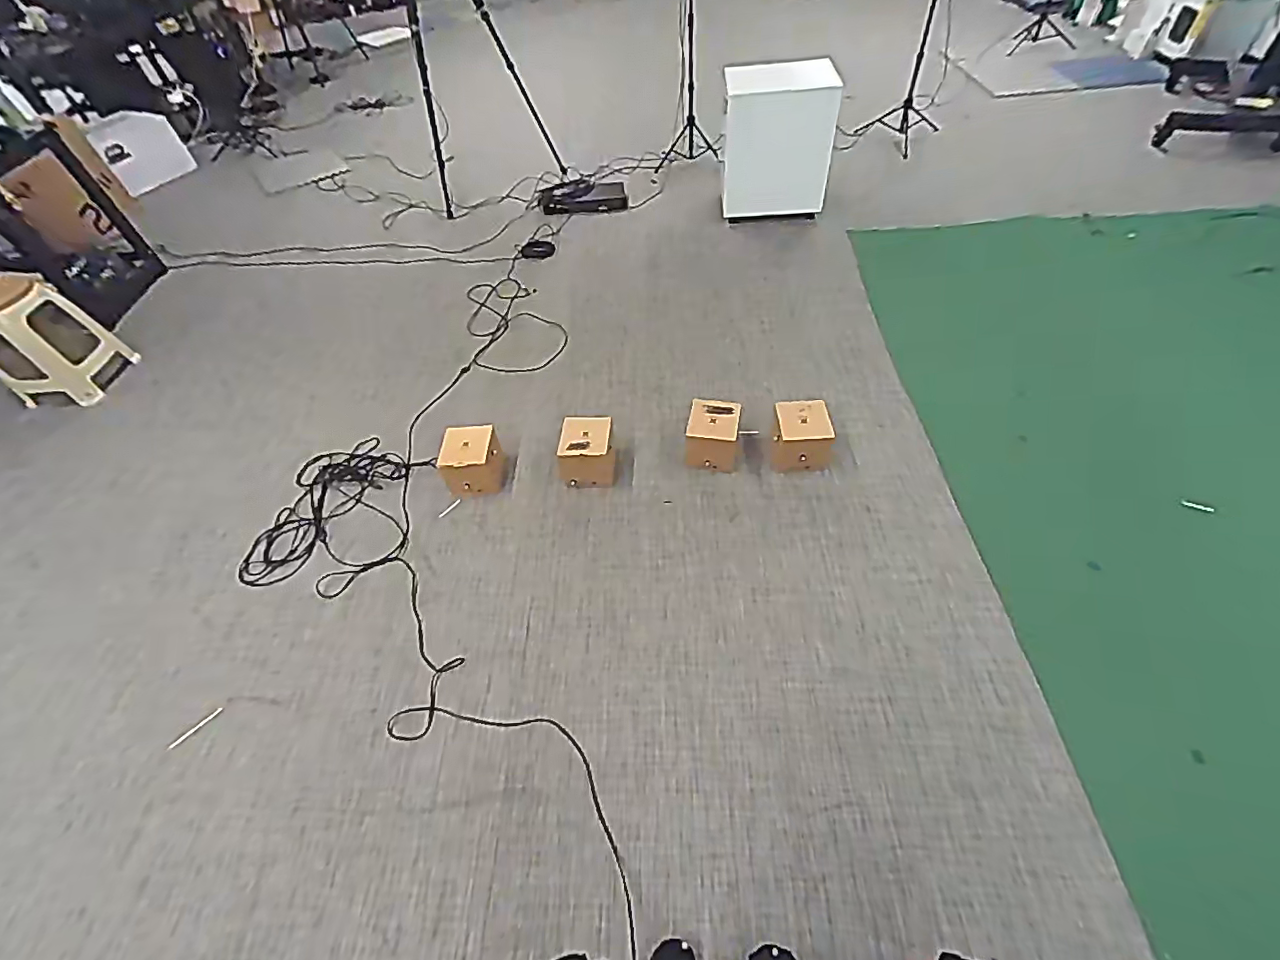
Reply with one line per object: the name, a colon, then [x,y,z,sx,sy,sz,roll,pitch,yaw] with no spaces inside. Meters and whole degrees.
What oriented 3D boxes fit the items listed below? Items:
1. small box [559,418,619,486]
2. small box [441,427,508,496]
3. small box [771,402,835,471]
small box: [-0.170,-0.093,1.868,0.168,0.176,0.179,0,51,7]
small box: [-0.571,-0.064,1.890,0.168,0.176,0.179,-4,52,4]
small box: [0.547,-0.143,1.835,0.168,0.176,0.179,-2,52,3]
